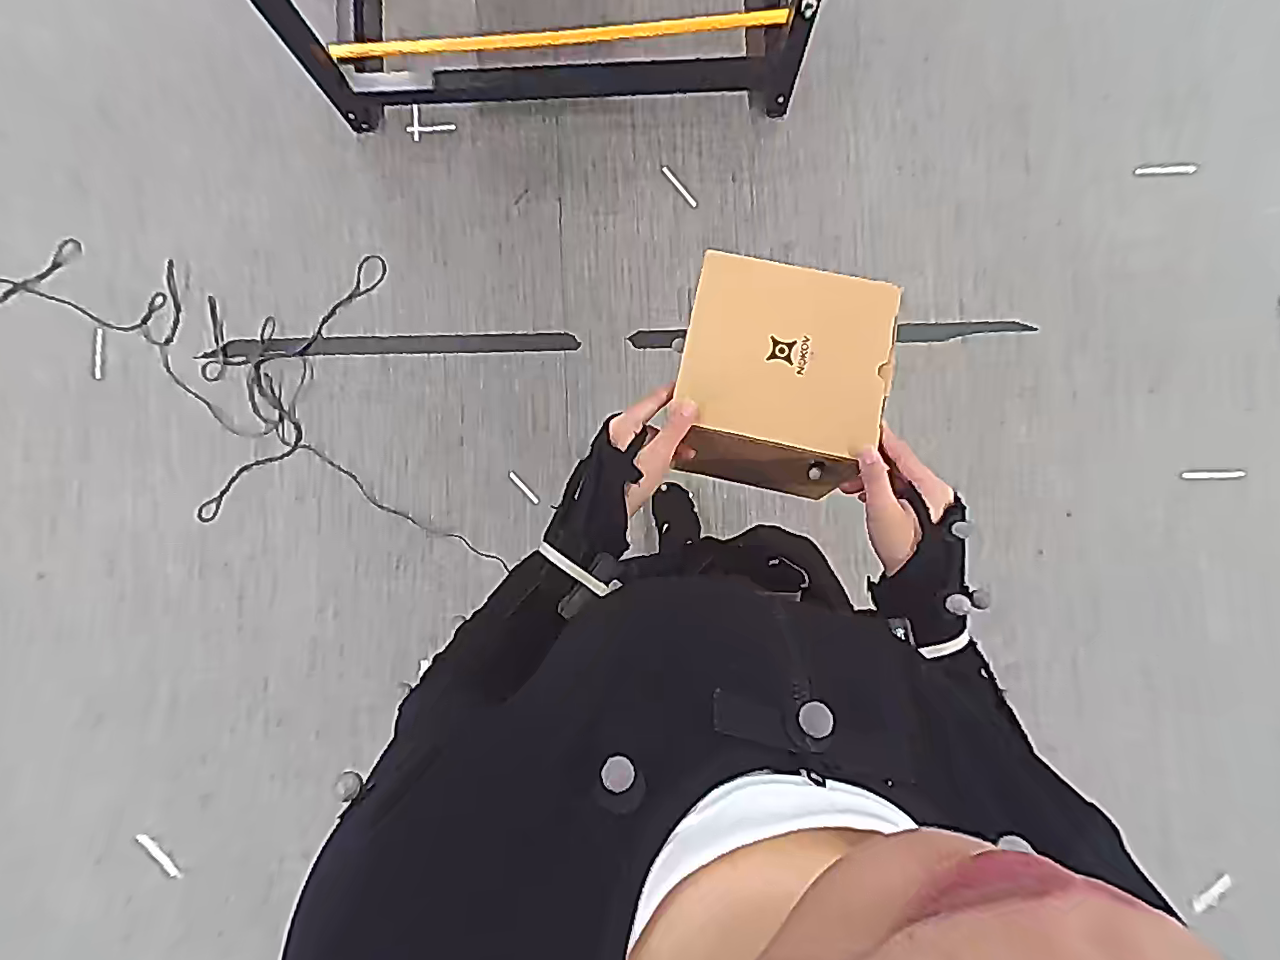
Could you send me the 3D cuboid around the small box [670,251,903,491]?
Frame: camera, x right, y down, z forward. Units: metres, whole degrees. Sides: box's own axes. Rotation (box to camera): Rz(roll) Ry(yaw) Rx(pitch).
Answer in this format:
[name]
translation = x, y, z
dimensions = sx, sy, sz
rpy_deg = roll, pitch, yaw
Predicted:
[small box]
translation = 0.130, -0.094, 0.539
dimensions = 0.179, 0.176, 0.168
rpy_deg = 12, 79, 4
